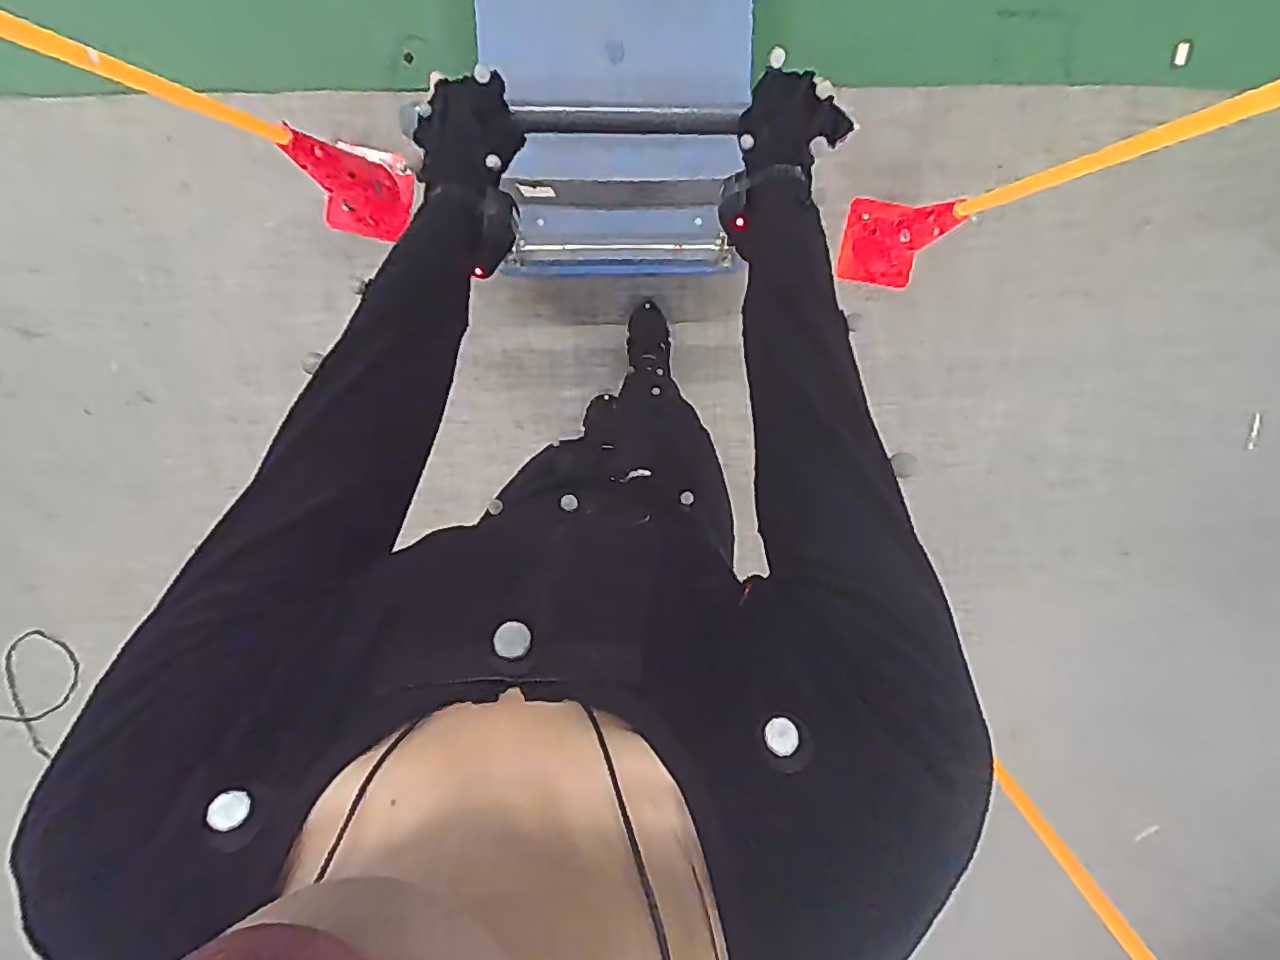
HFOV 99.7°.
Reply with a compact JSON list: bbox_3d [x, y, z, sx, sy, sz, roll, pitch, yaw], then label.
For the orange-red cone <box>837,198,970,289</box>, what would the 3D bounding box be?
[{"bbox_3d":[0.625,-0.567,1.227,0.198,0.360,0.199,9,103,-4],"label":"orange-red cone"}]
